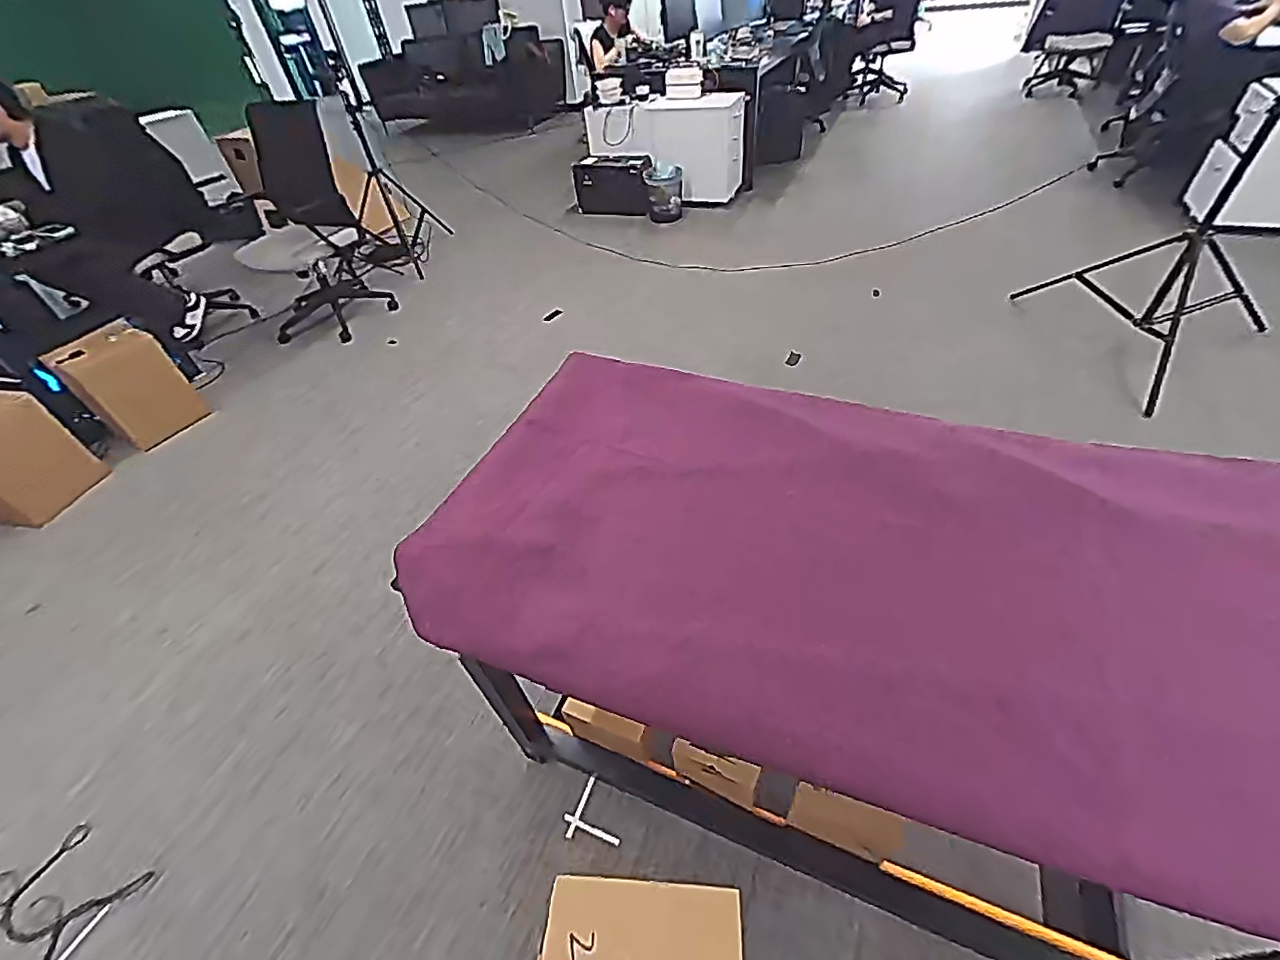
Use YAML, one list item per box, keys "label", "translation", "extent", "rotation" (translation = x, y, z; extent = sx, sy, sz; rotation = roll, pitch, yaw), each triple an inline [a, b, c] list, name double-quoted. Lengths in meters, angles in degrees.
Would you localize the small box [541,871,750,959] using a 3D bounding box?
- label: "small box"
  translation: [0.006, 0.480, 0.471]
  extent: [0.179, 0.176, 0.168]
  rotation: [0, 30, 7]
